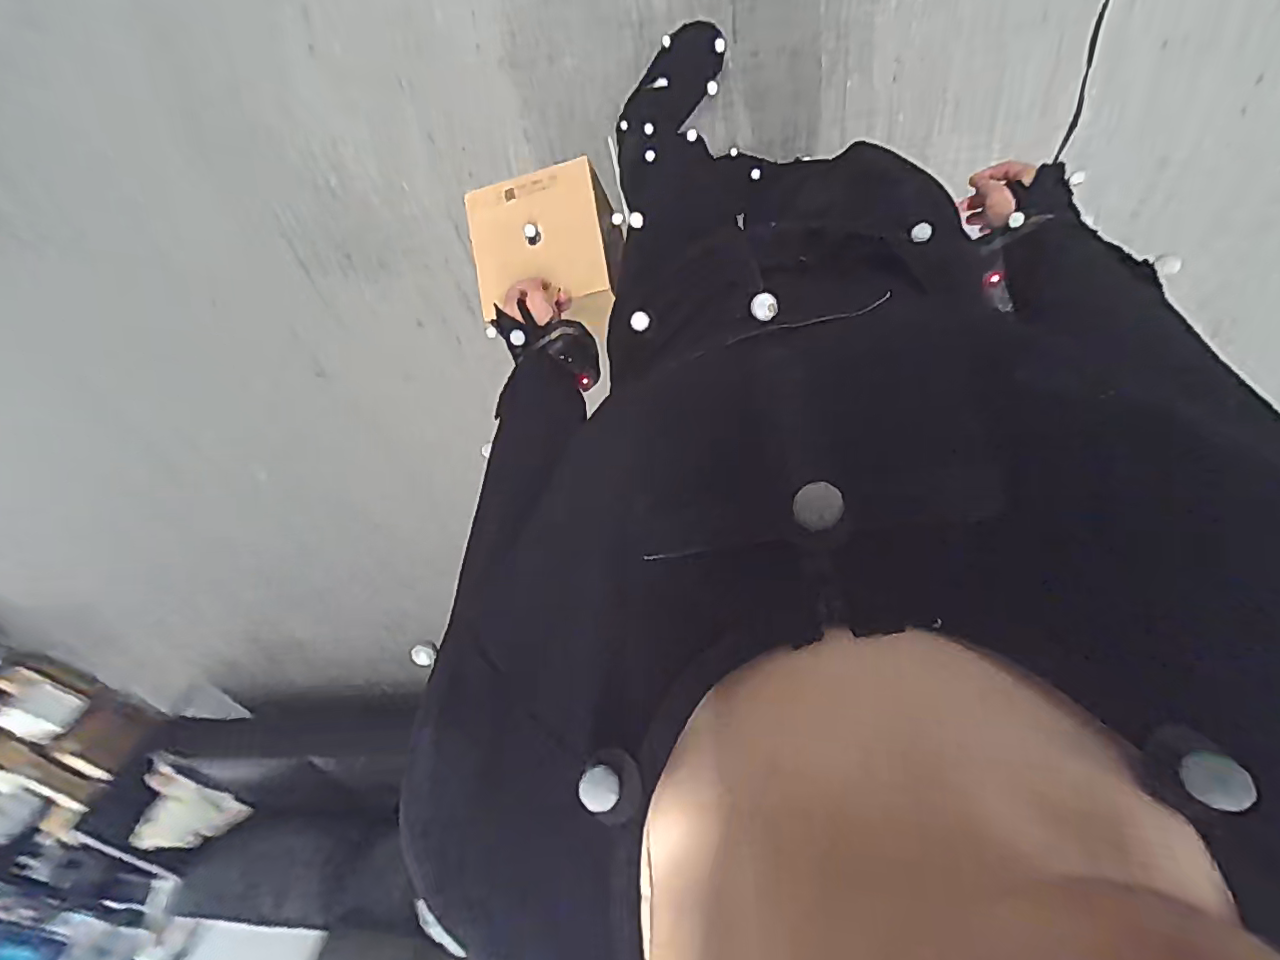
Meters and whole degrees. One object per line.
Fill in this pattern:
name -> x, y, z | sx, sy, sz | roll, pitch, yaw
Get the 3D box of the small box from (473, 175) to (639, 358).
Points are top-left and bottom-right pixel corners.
small box -> -0.109, -0.286, 0.737 | 0.168, 0.179, 0.176 | -10, 86, 11
